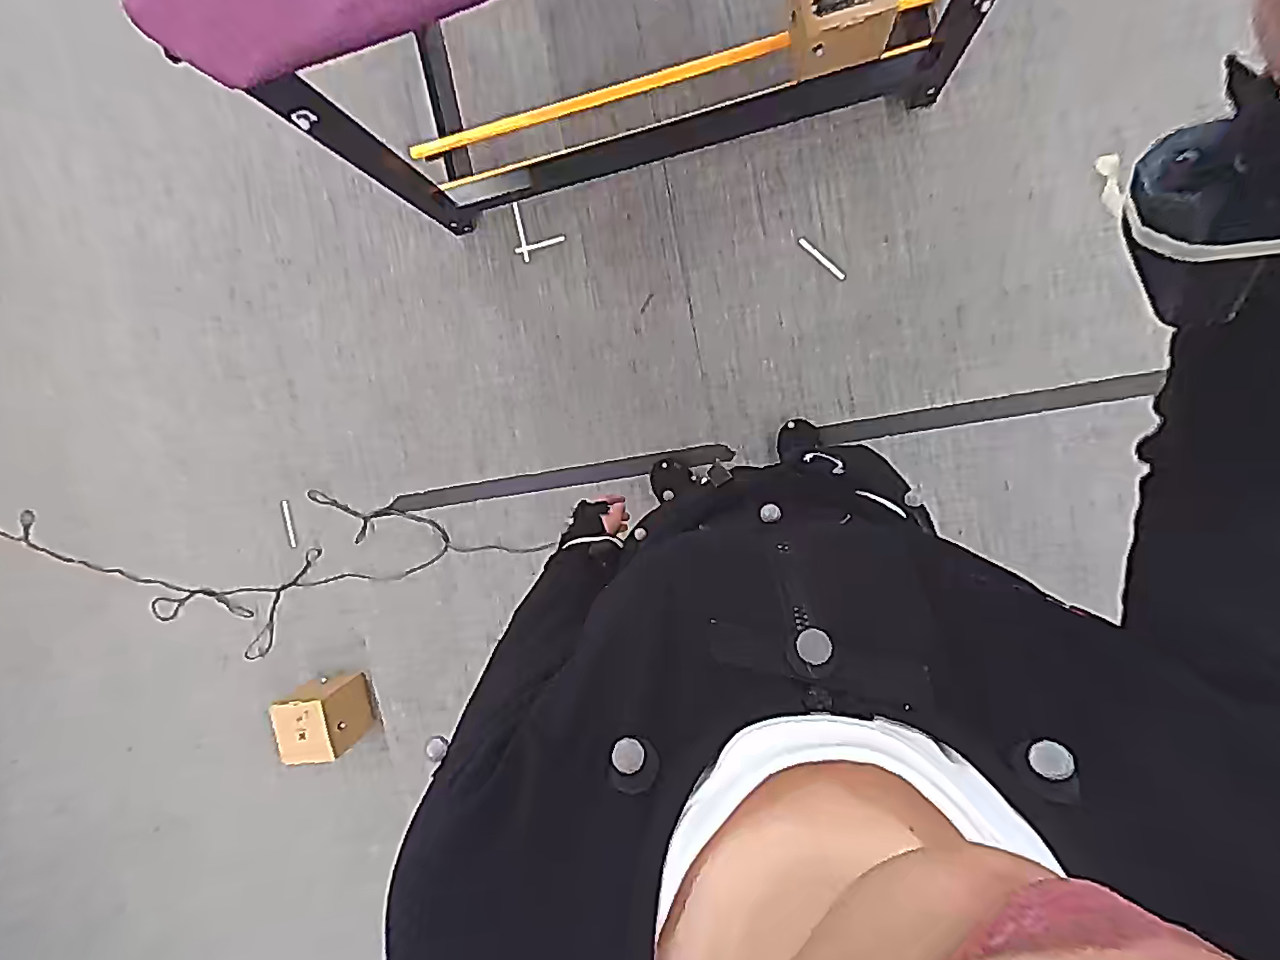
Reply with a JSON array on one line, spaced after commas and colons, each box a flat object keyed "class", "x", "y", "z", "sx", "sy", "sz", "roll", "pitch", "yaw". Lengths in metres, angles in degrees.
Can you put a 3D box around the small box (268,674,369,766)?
[{"class": "small box", "x": -0.901, "y": 0.675, "z": 1.531, "sx": 0.168, "sy": 0.176, "sz": 0.179, "roll": -10, "pitch": 94, "yaw": 10}]
